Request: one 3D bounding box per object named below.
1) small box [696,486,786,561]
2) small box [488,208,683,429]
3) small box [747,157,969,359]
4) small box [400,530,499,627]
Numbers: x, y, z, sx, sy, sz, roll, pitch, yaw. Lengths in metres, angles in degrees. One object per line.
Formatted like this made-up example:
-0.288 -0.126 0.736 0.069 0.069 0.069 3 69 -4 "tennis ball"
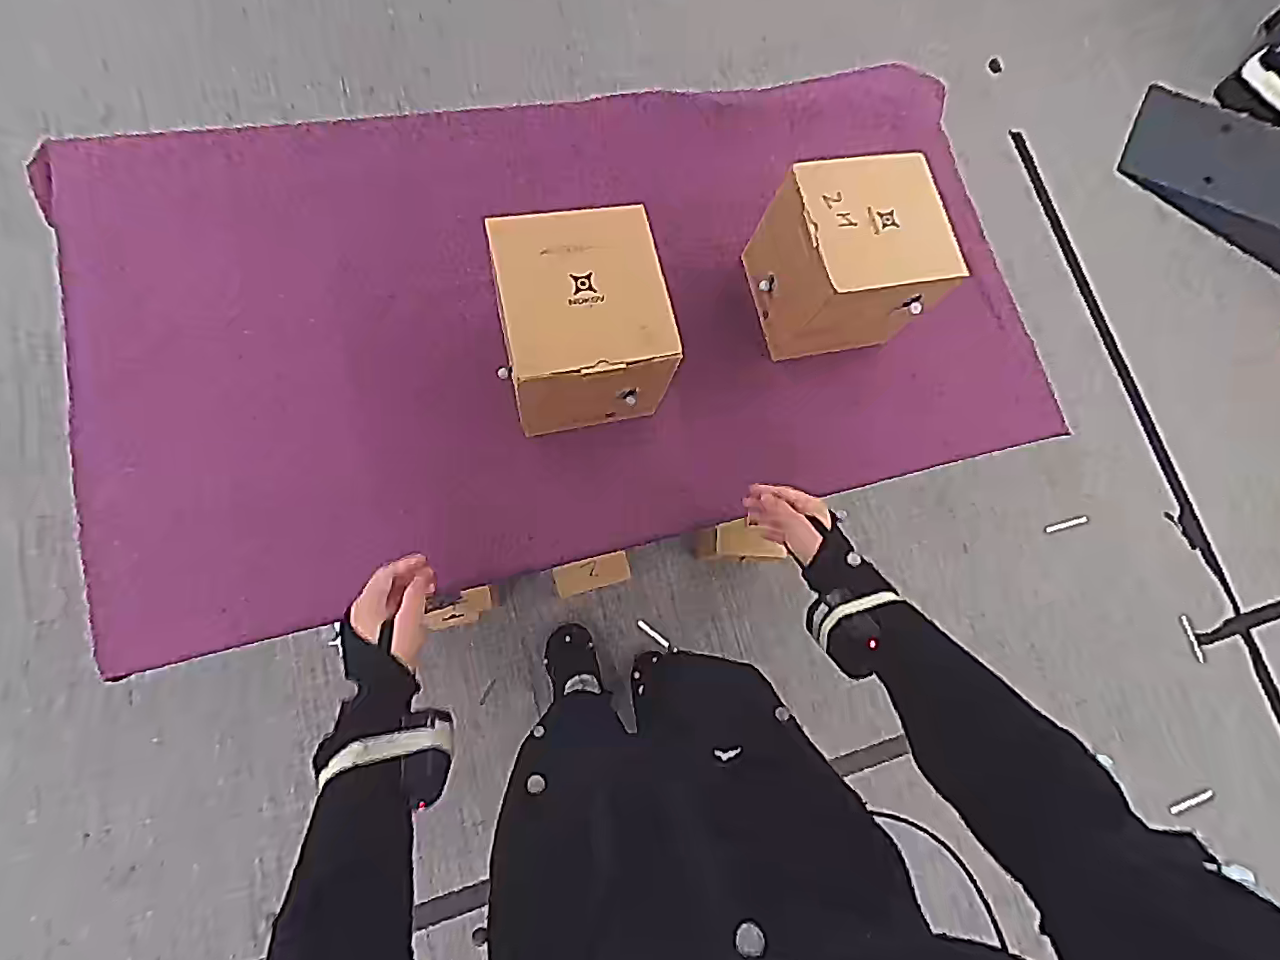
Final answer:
0.249 0.115 1.355 0.179 0.176 0.168 4 78 -8 "small box"
-0.065 -0.167 0.607 0.168 0.176 0.179 -12 78 -13 "small box"
0.259 -0.270 0.683 0.179 0.176 0.168 -11 79 -11 "small box"
-0.421 0.222 1.217 0.168 0.176 0.179 -12 79 -12 "small box"
